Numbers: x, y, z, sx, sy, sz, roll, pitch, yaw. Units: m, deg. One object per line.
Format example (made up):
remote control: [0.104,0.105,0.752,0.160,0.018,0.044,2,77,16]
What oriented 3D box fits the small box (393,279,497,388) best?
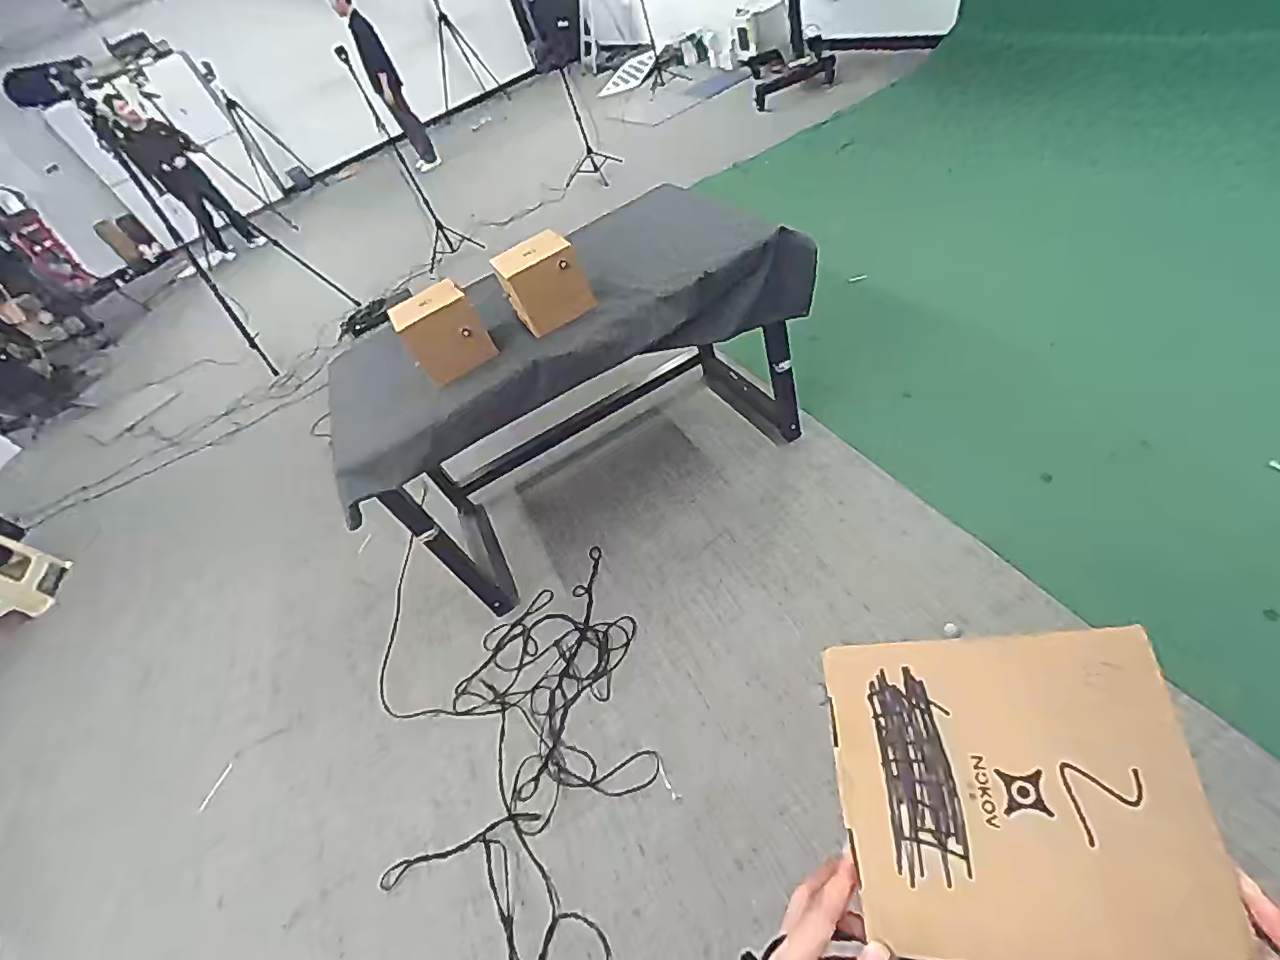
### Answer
small box: [-0.472,-0.360,1.334,0.179,0.176,0.168,-34,43,-8]

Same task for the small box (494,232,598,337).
small box: [-0.233,-0.484,1.348,0.179,0.176,0.168,-31,44,-8]
